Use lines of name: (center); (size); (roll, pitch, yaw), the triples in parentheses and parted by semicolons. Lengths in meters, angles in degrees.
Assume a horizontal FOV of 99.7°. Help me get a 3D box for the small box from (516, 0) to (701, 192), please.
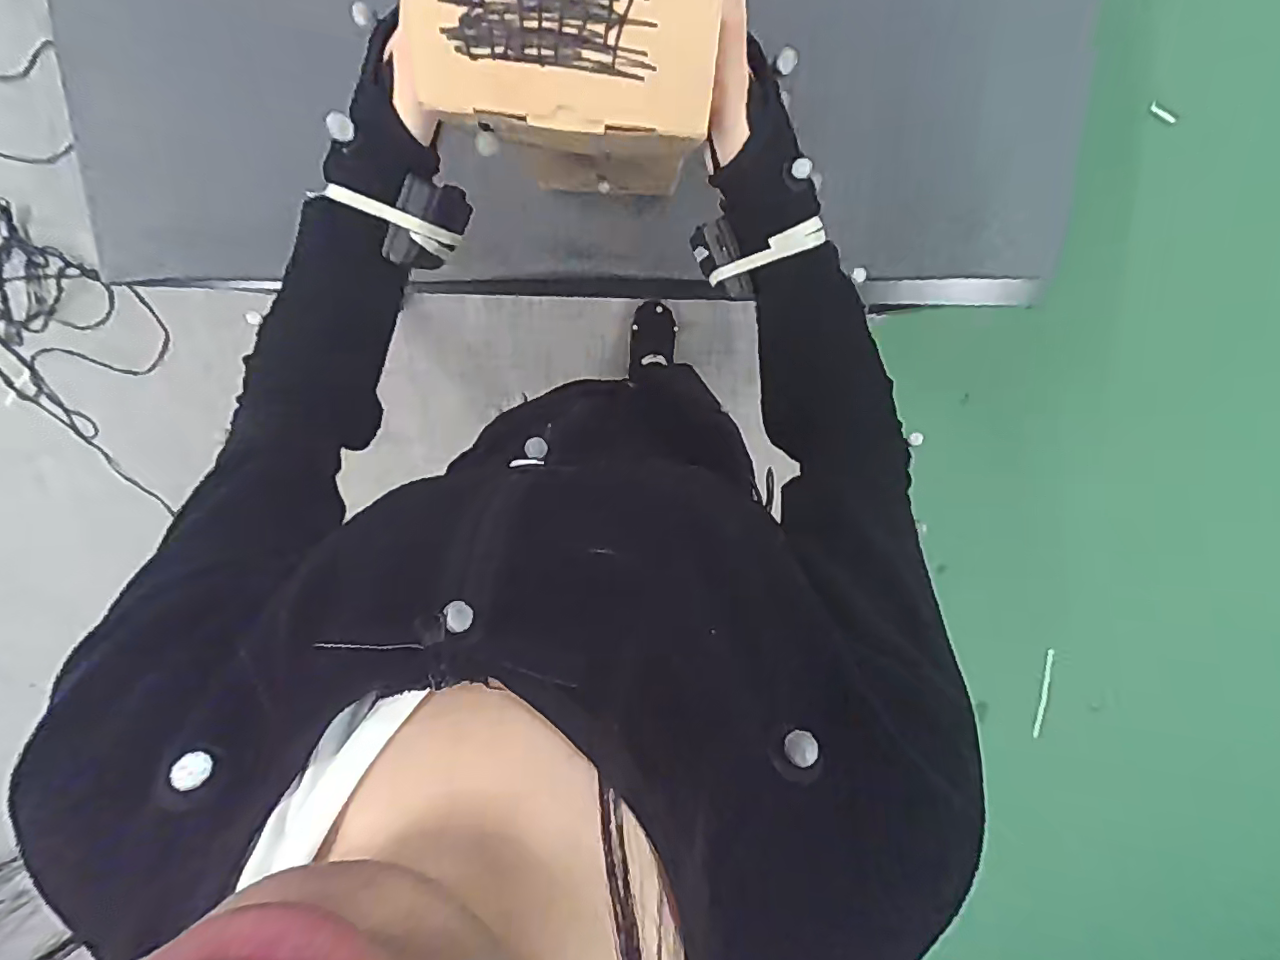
small box: (-0.031, -0.422, 0.561); (0.168, 0.176, 0.179); (2, 103, -1)
